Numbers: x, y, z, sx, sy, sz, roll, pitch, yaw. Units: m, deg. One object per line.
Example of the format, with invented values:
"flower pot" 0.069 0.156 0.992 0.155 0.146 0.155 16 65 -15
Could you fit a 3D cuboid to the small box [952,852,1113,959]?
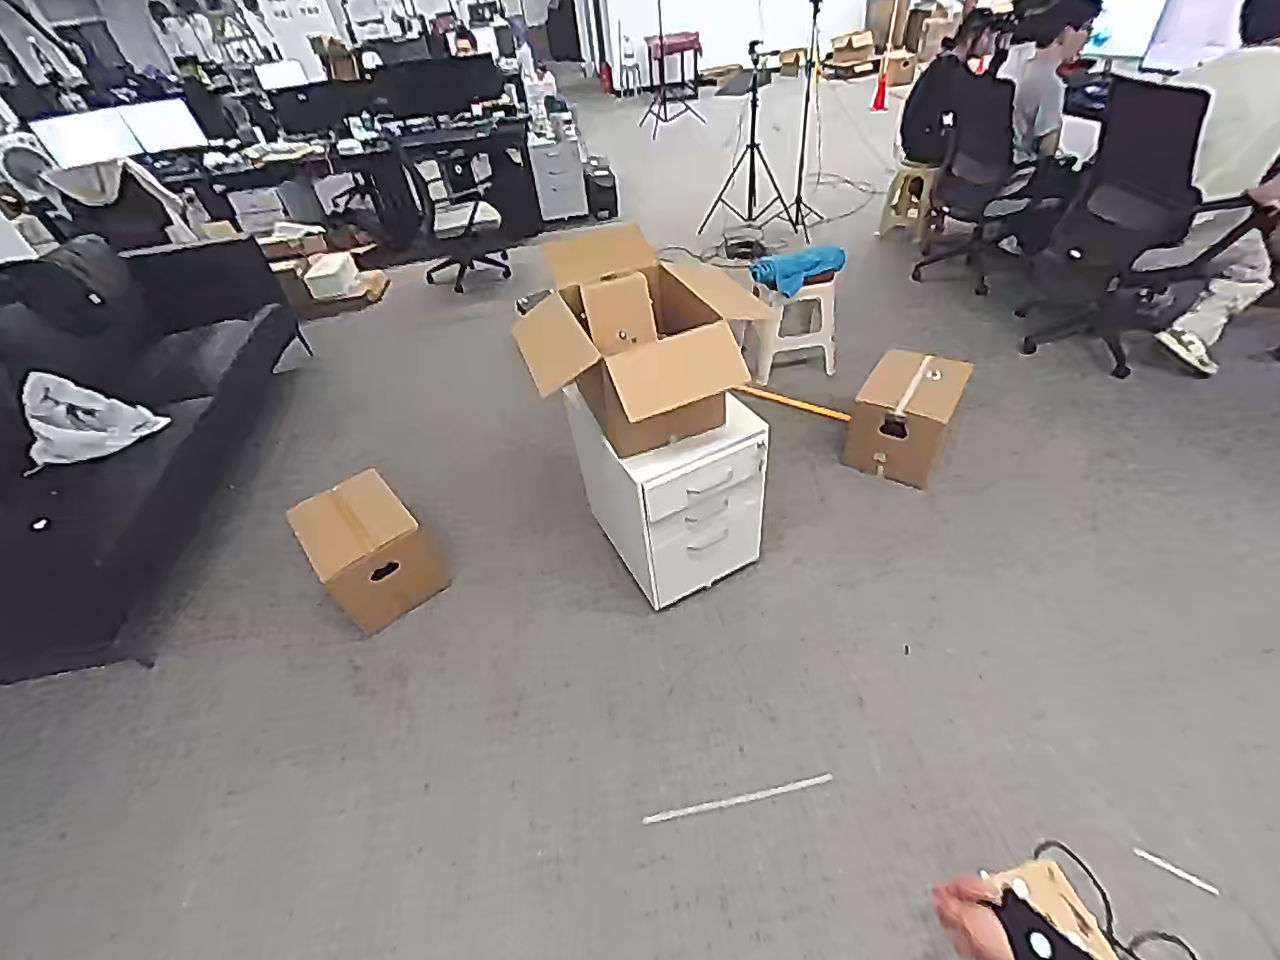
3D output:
"small box" 0.739 0.857 1.048 0.179 0.176 0.168 -13 44 -4
